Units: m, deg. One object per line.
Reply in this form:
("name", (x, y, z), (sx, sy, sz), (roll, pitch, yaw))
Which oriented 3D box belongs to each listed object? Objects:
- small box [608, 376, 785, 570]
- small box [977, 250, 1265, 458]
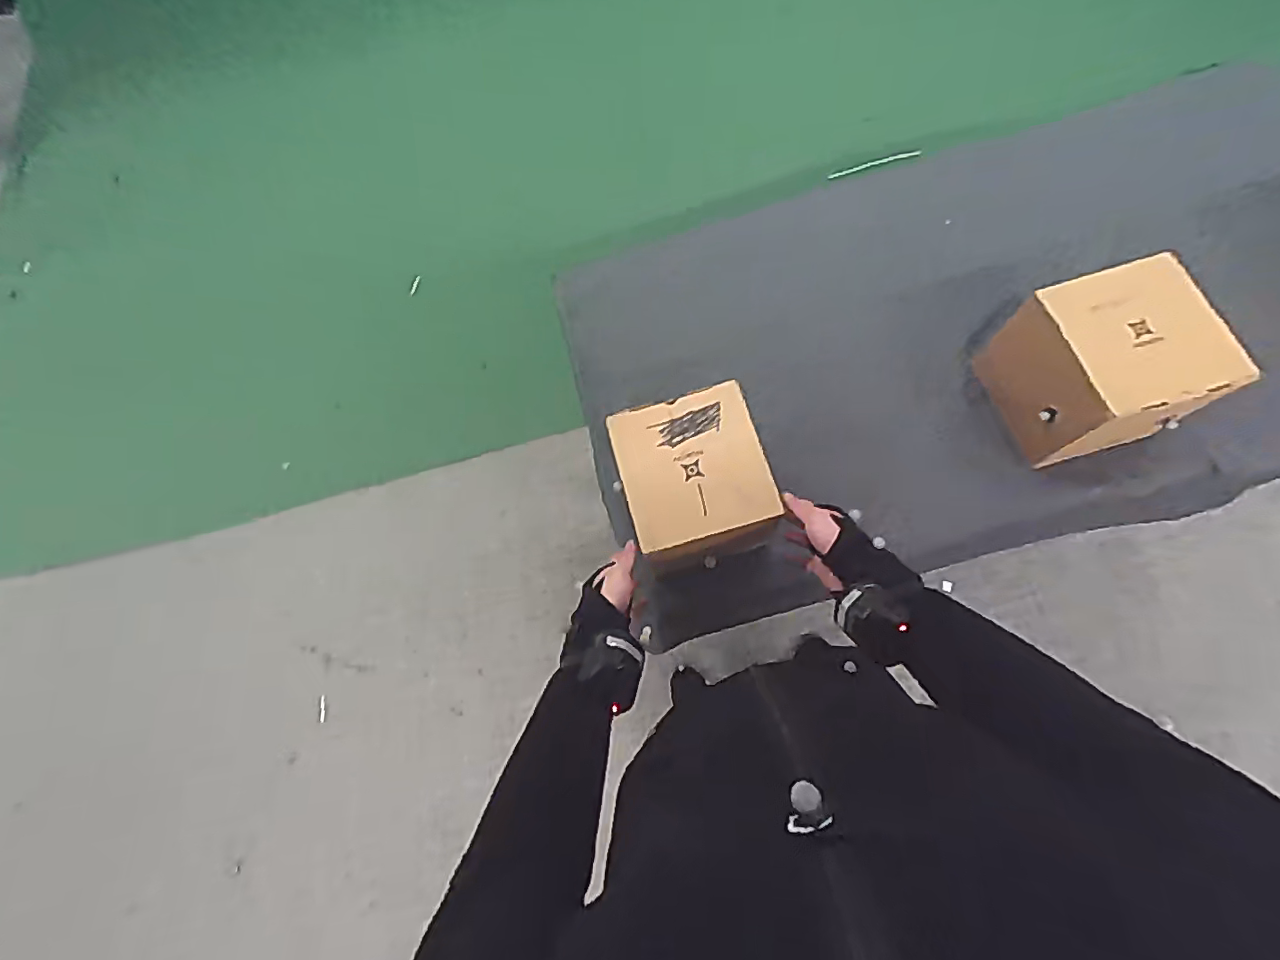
("small box", (0.066, 0.000, 0.684), (0.168, 0.176, 0.179), (-15, 71, 1))
("small box", (0.570, -0.142, 0.674), (0.168, 0.176, 0.179), (-16, 69, 0))
